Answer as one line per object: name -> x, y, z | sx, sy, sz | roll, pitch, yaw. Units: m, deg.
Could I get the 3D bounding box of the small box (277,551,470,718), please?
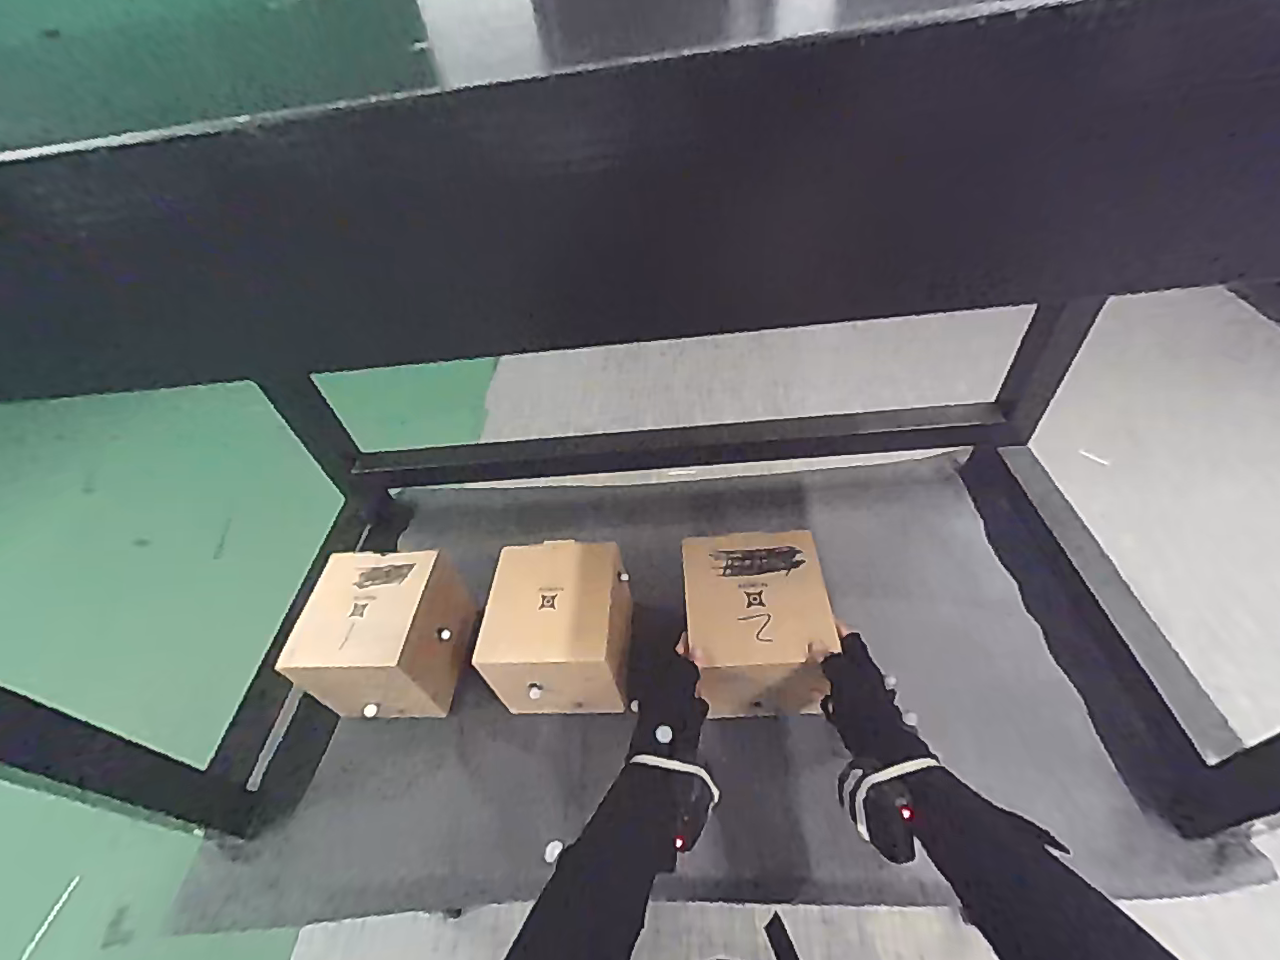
small box -> -0.362, 0.223, 0.781 | 0.168, 0.176, 0.179 | -3, 47, 7

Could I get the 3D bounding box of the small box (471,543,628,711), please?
small box -> -0.111, 0.209, 0.756 | 0.168, 0.176, 0.179 | -3, 46, 6
